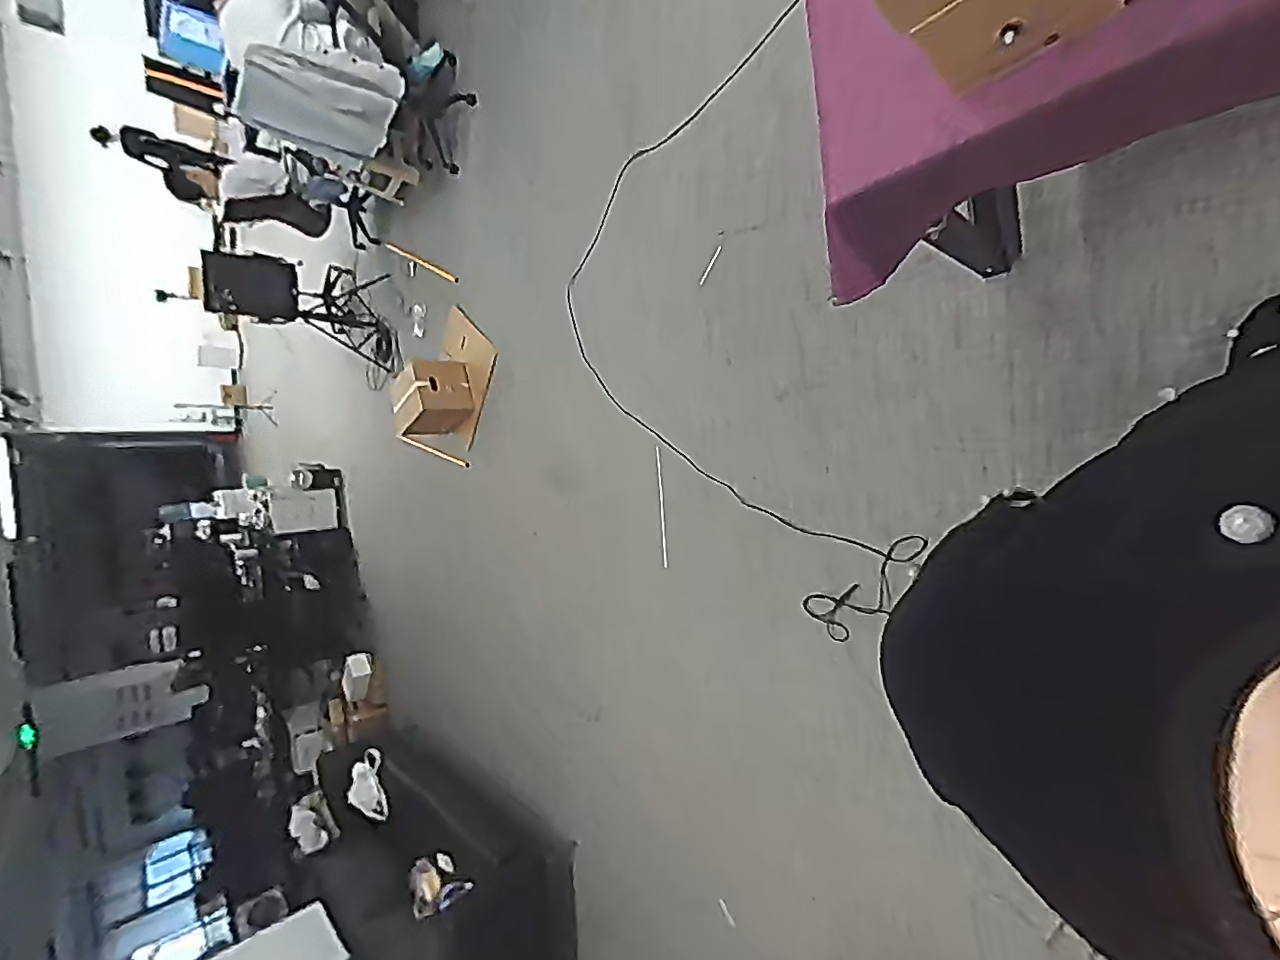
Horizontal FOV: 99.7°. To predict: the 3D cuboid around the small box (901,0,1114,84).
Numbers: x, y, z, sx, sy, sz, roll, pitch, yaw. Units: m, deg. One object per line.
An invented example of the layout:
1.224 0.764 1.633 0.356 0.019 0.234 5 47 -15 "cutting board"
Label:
0.391 -0.573 0.581 0.168 0.176 0.179 -5 90 46 "small box"
